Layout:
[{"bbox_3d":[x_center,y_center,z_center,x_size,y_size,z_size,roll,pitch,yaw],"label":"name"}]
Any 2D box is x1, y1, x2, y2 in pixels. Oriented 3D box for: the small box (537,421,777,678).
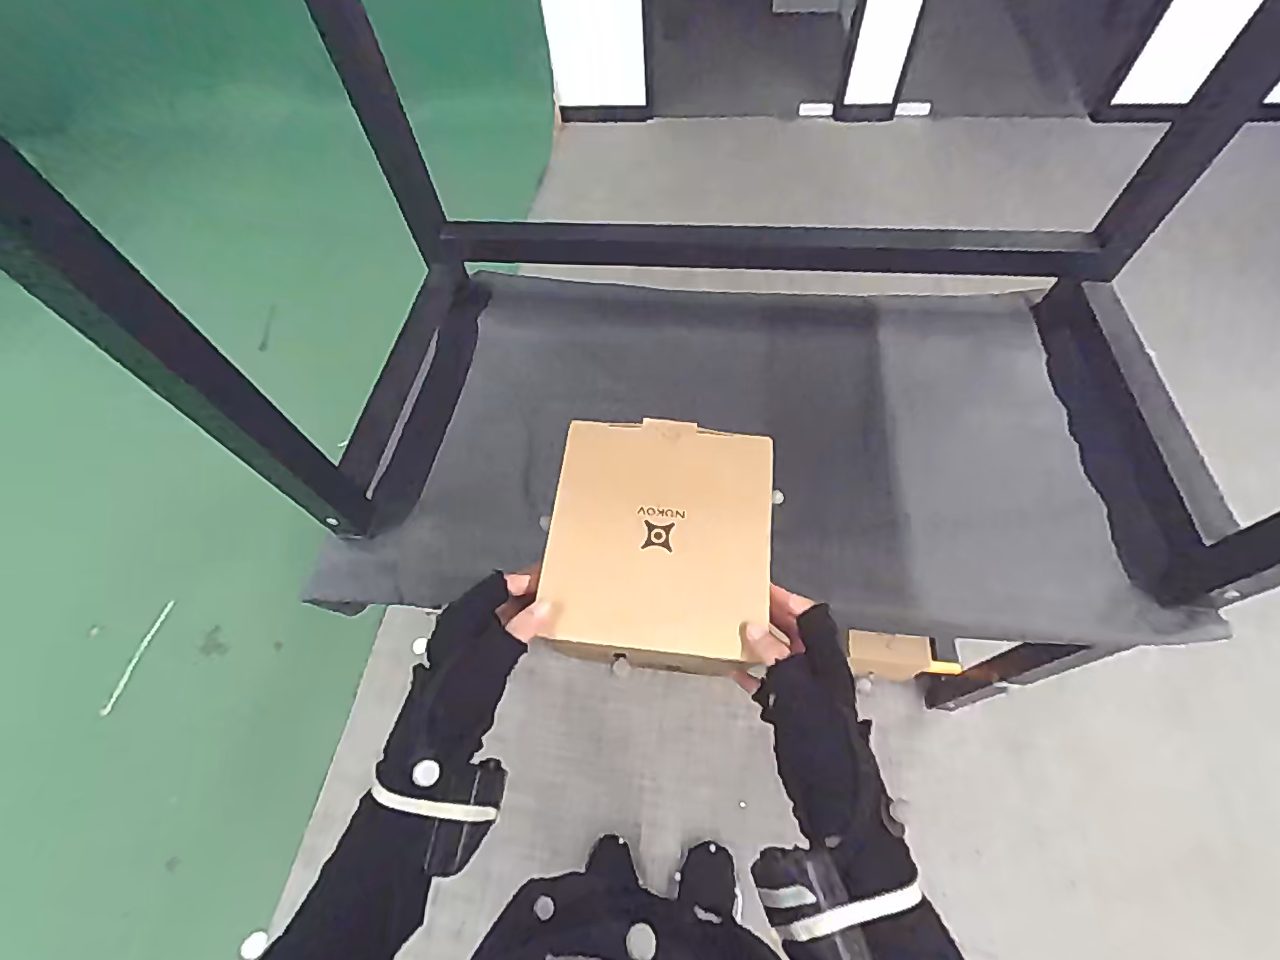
[{"bbox_3d":[0.022,0.070,0.472,0.168,0.176,0.179,5,65,4],"label":"small box"}]
